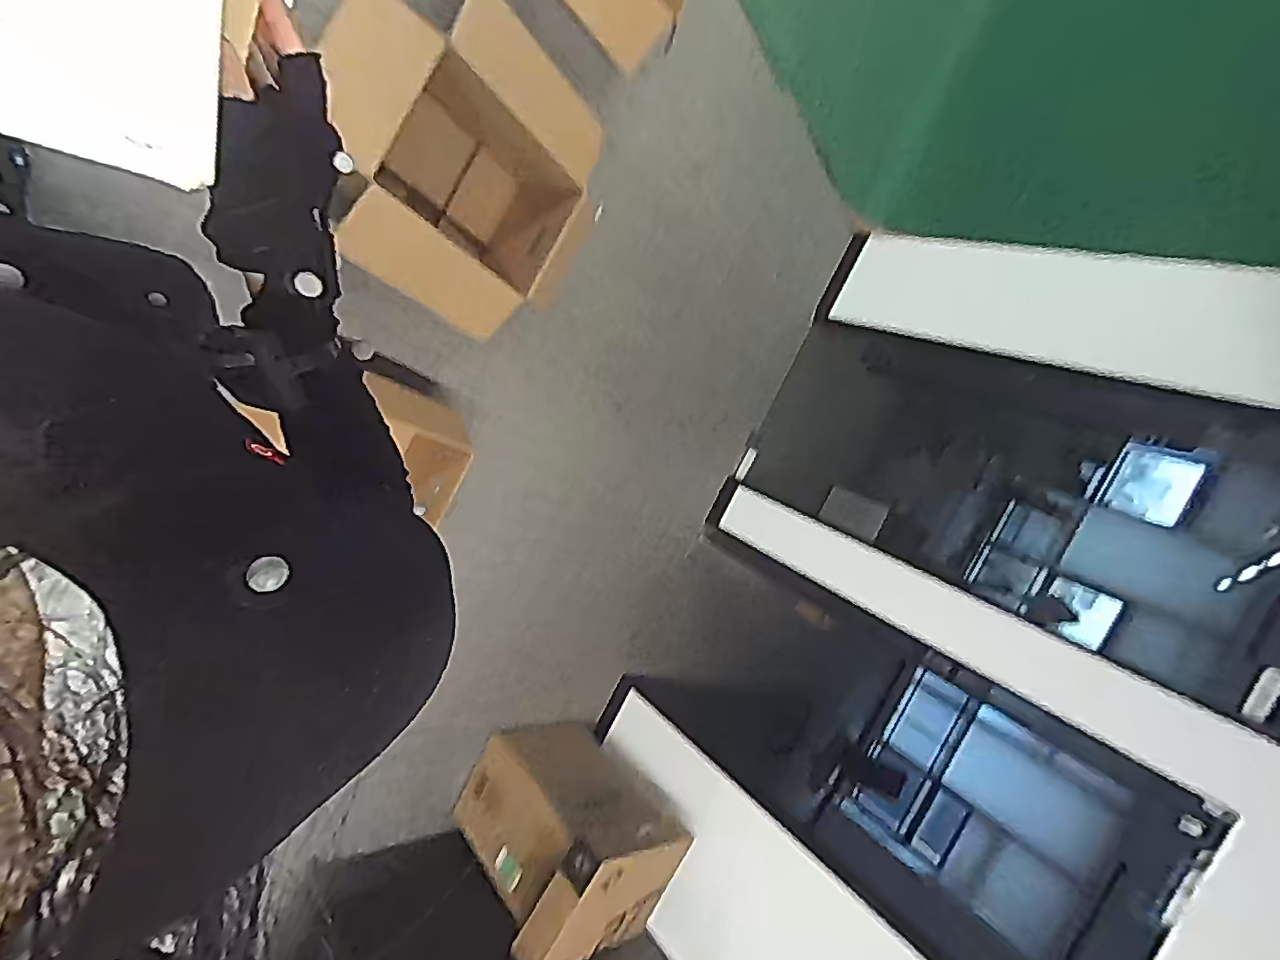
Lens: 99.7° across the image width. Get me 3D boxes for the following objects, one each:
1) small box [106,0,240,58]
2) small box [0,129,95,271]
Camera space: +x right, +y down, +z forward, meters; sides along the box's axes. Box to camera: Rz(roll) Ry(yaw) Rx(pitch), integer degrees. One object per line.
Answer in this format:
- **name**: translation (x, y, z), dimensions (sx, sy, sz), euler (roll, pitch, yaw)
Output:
- **small box**: translation (-0.283, -0.346, 0.255), dimensions (0.179, 0.176, 0.168), euler (13, 116, -41)
- **small box**: translation (-1.056, -0.457, 0.857), dimensions (0.168, 0.176, 0.179), euler (-39, 118, -7)
